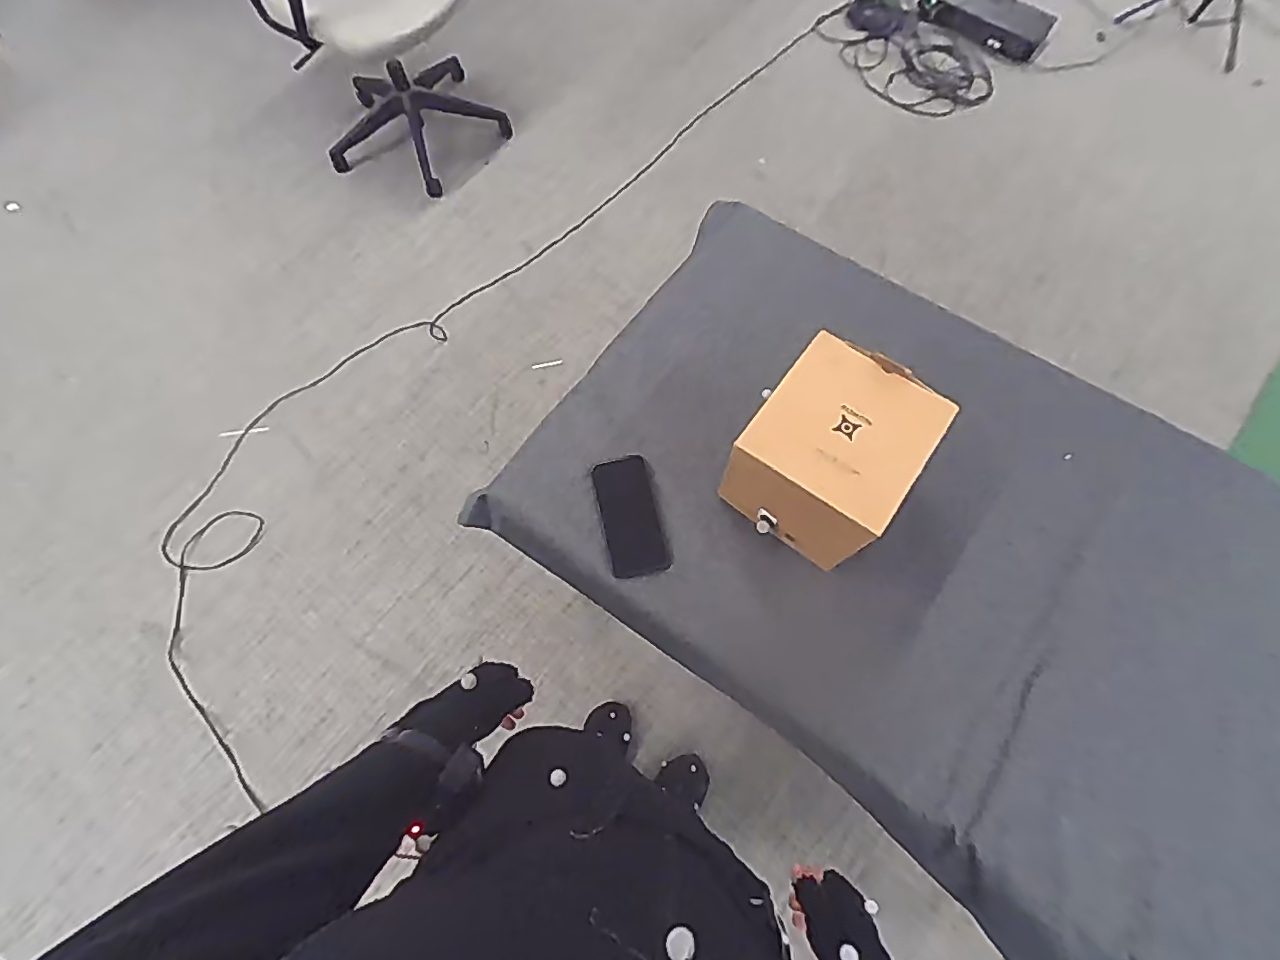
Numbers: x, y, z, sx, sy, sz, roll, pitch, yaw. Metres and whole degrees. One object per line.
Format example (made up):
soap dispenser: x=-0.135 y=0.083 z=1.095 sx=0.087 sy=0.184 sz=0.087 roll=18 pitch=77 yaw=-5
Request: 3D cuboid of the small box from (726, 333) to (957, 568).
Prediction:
small box: x=0.214 y=-0.025 z=0.625 sx=0.168 sy=0.176 sz=0.179 roll=35 pitch=74 yaw=14
